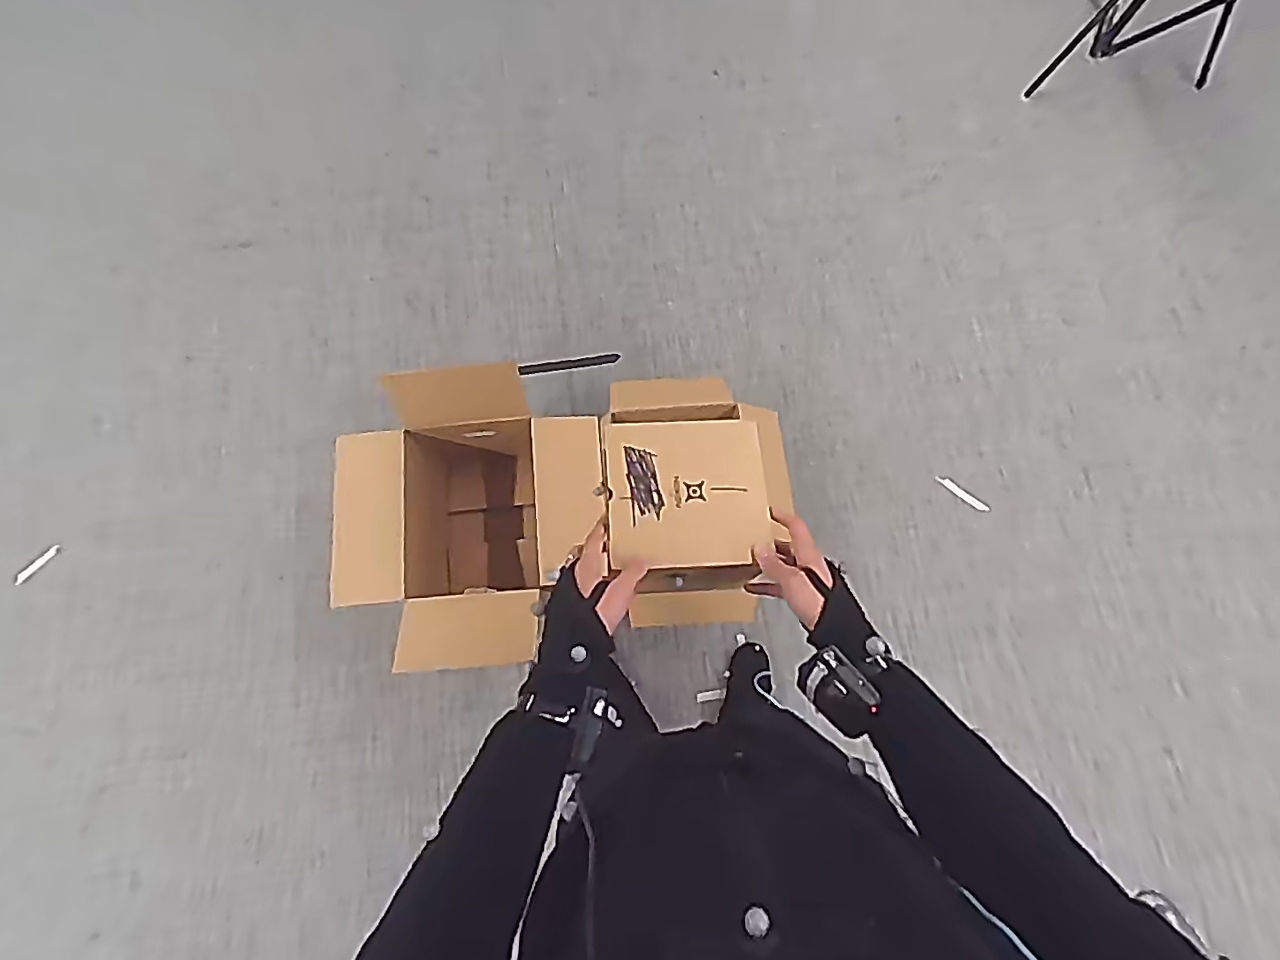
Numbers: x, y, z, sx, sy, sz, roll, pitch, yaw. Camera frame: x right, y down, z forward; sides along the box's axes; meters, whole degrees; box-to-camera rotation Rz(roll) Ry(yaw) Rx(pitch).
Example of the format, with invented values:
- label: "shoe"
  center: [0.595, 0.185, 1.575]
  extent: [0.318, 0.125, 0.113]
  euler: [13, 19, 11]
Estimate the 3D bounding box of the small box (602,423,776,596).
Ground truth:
- label: "small box"
  center: [0.046, 0.043, 0.648]
  extent: [0.179, 0.176, 0.168]
  euler: [-2, 70, -4]
